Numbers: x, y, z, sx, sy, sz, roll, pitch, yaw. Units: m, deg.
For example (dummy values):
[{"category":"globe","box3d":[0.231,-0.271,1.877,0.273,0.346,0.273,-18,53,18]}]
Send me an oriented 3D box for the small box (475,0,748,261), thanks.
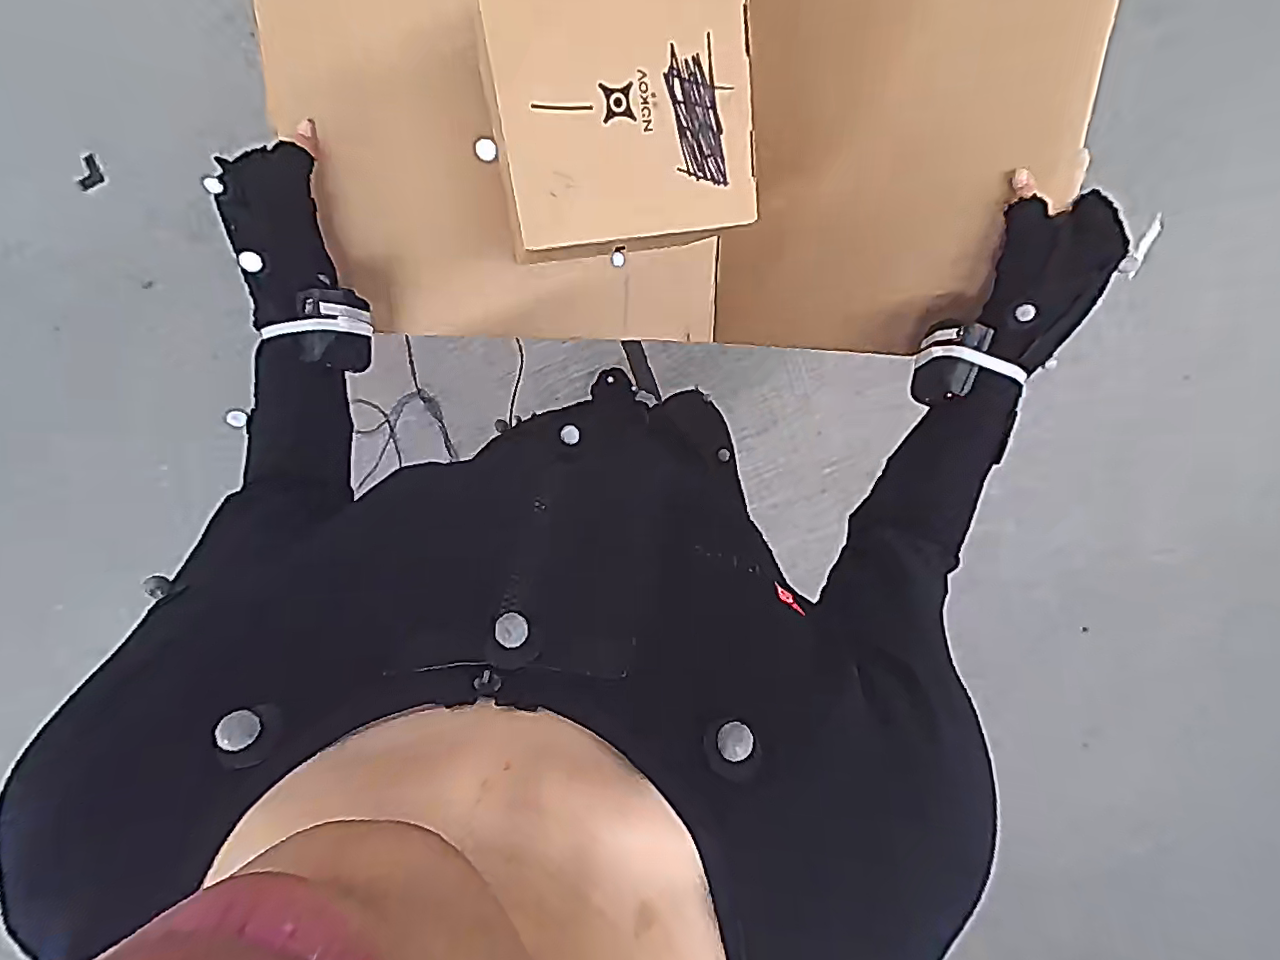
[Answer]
[{"category":"small box","box3d":[-0.029,-0.280,0.443,0.179,0.176,0.168,-12,110,-9]}]
